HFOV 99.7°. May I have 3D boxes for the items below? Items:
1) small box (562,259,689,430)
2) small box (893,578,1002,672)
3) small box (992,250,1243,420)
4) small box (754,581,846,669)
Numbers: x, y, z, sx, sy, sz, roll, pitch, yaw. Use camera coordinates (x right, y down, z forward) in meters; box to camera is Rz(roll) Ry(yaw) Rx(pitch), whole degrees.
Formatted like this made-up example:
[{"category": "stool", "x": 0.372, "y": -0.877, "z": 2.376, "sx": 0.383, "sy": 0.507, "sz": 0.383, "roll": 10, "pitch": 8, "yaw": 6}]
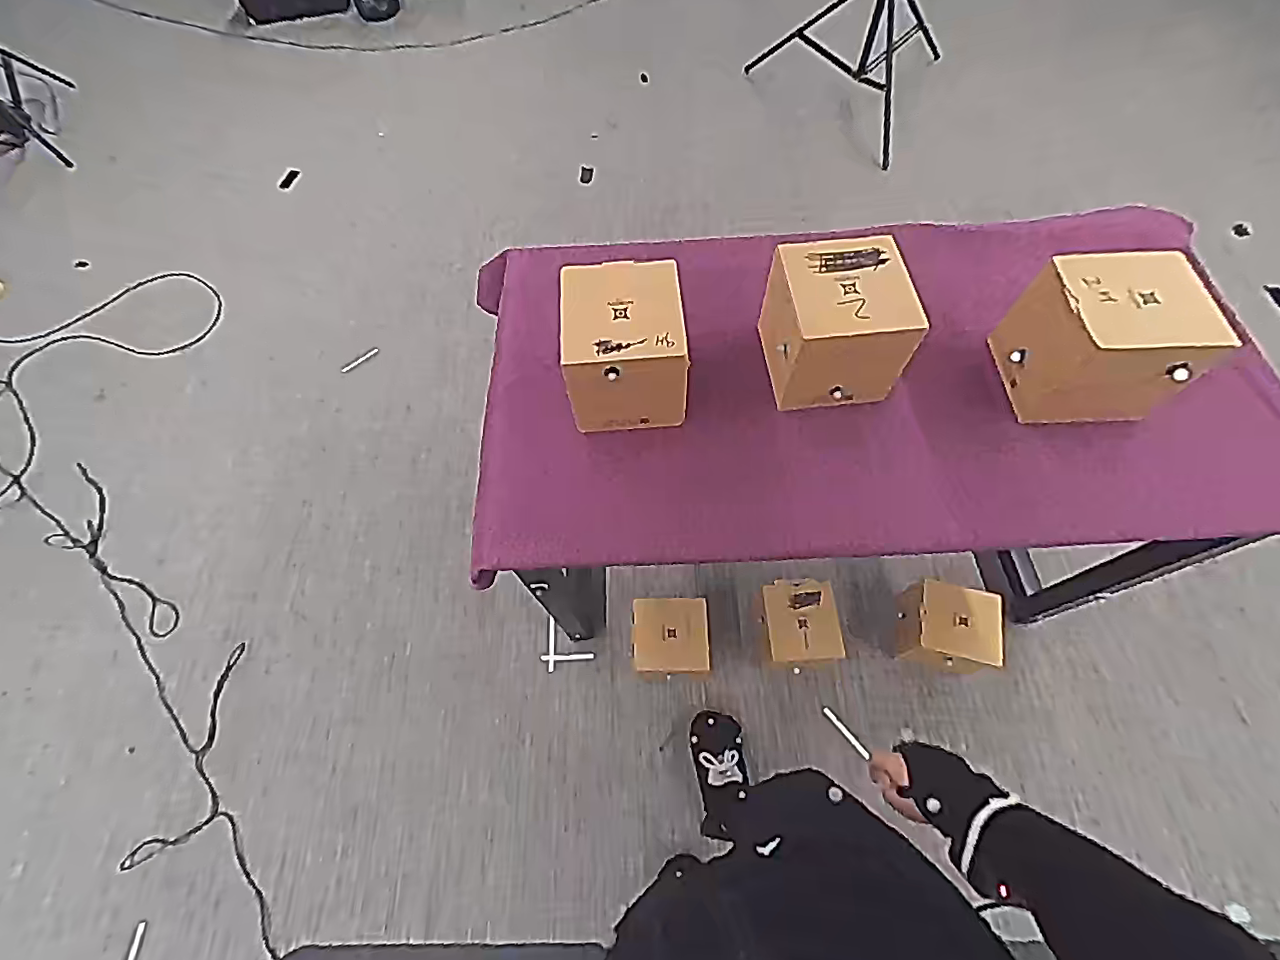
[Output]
[{"category": "small box", "x": -0.021, "y": -0.194, "z": 0.795, "sx": 0.168, "sy": 0.176, "sz": 0.179, "roll": -5, "pitch": 63, "yaw": 0}, {"category": "small box", "x": 0.734, "y": 0.354, "z": 1.299, "sx": 0.179, "sy": 0.176, "sz": 0.168, "roll": 12, "pitch": 65, "yaw": 10}, {"category": "small box", "x": 0.646, "y": -0.197, "z": 0.762, "sx": 0.179, "sy": 0.176, "sz": 0.168, "roll": -1, "pitch": 62, "yaw": 3}, {"category": "small box", "x": 0.378, "y": 0.356, "z": 1.314, "sx": 0.168, "sy": 0.176, "sz": 0.179, "roll": -4, "pitch": 64, "yaw": 1}]
